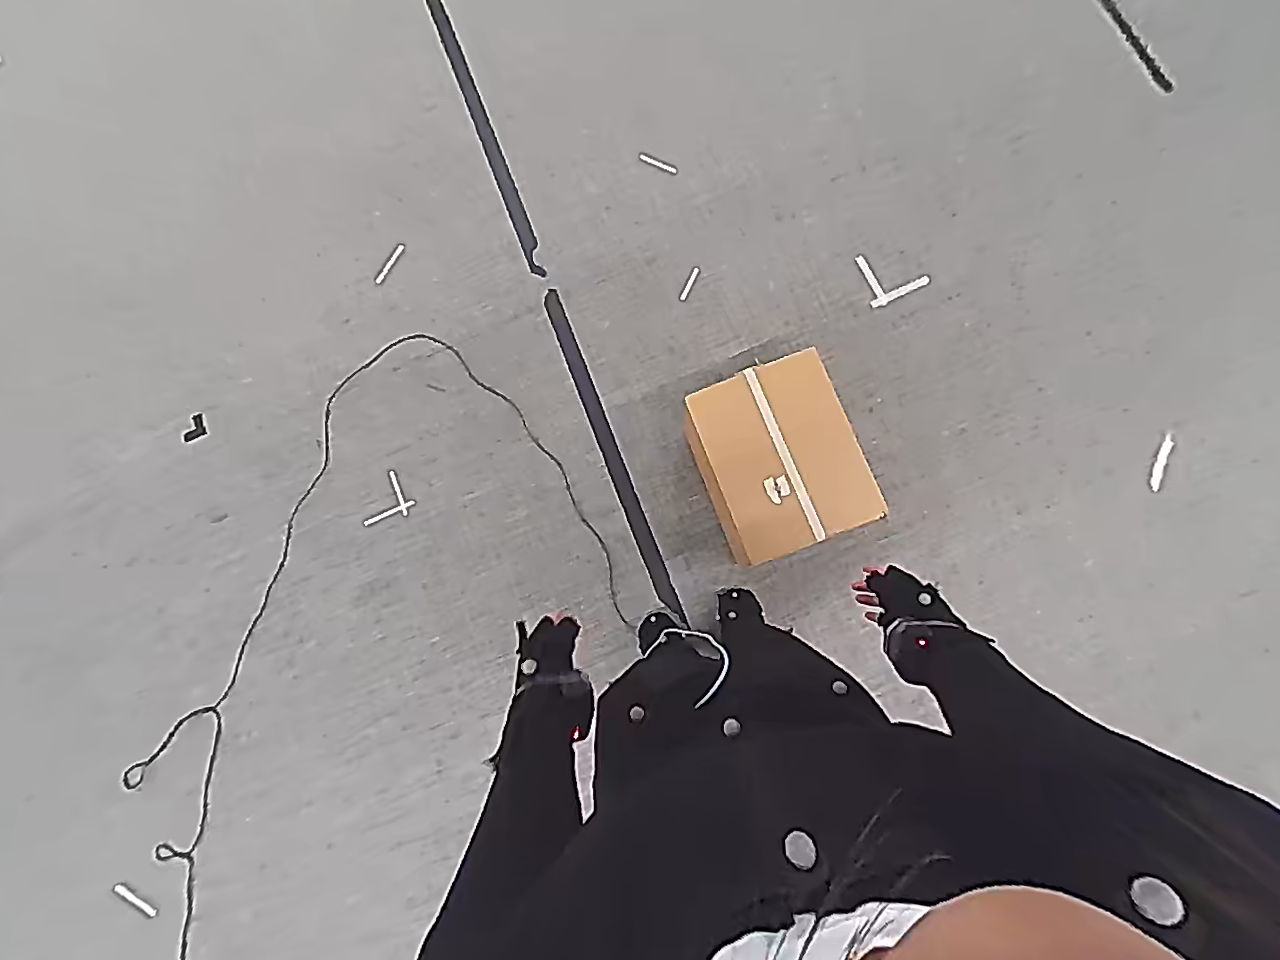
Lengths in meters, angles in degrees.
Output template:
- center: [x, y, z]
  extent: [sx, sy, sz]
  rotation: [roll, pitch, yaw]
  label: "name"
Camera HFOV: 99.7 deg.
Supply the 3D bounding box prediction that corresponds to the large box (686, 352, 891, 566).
- center: [0.329, -0.032, 1.325]
  extent: [0.320, 0.320, 0.408]
  rotation: [-22, 81, 2]
  label: "large box"
